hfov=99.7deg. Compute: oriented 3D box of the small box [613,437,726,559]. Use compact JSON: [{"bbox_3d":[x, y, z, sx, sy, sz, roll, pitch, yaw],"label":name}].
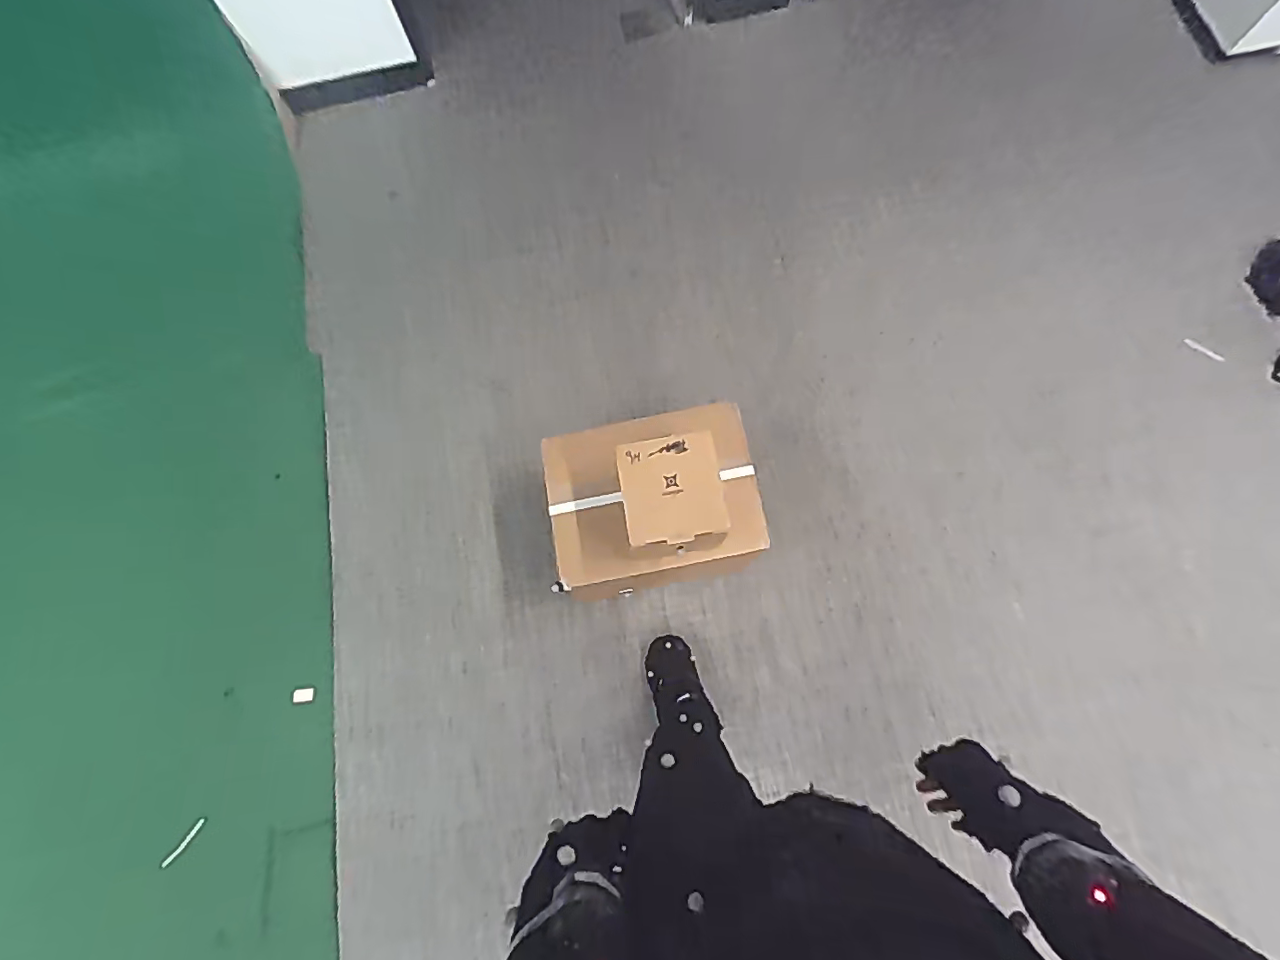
[{"bbox_3d":[0.051,0.042,0.957,0.168,0.176,0.179,-9,75,0],"label":"small box"}]
